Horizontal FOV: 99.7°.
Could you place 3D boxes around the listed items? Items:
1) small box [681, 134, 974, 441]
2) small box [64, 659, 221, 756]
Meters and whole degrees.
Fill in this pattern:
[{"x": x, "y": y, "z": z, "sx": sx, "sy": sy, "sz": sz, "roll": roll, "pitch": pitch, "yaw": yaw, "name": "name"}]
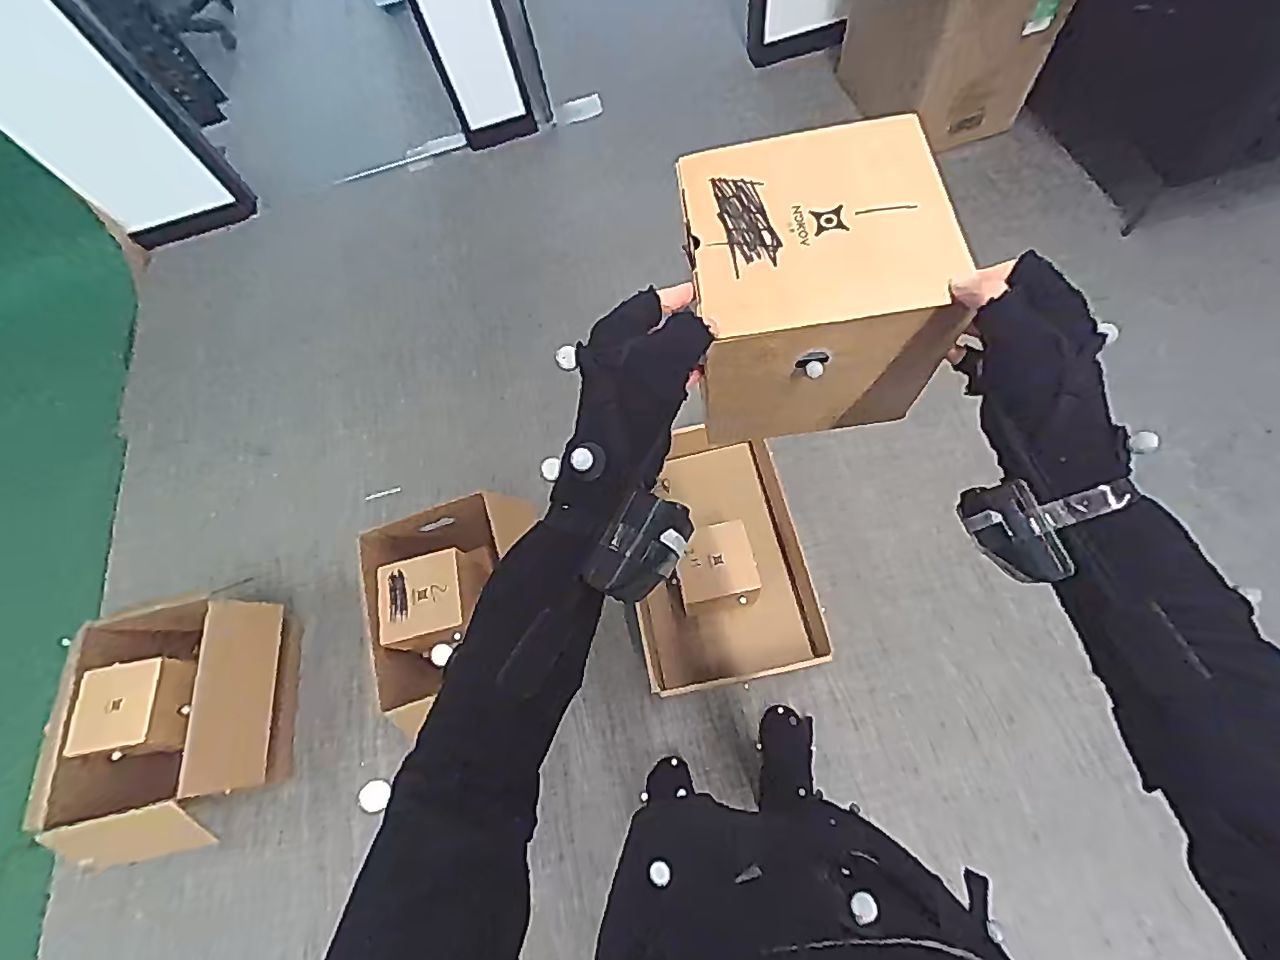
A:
[{"x": 0.135, "y": -0.145, "z": 0.458, "sx": 0.179, "sy": 0.176, "sz": 0.168, "roll": -8, "pitch": 68, "yaw": 5, "name": "small box"}, {"x": -1.067, "y": 0.495, "z": 1.179, "sx": 0.179, "sy": 0.176, "sz": 0.168, "roll": -11, "pitch": 65, "yaw": 1, "name": "small box"}]
